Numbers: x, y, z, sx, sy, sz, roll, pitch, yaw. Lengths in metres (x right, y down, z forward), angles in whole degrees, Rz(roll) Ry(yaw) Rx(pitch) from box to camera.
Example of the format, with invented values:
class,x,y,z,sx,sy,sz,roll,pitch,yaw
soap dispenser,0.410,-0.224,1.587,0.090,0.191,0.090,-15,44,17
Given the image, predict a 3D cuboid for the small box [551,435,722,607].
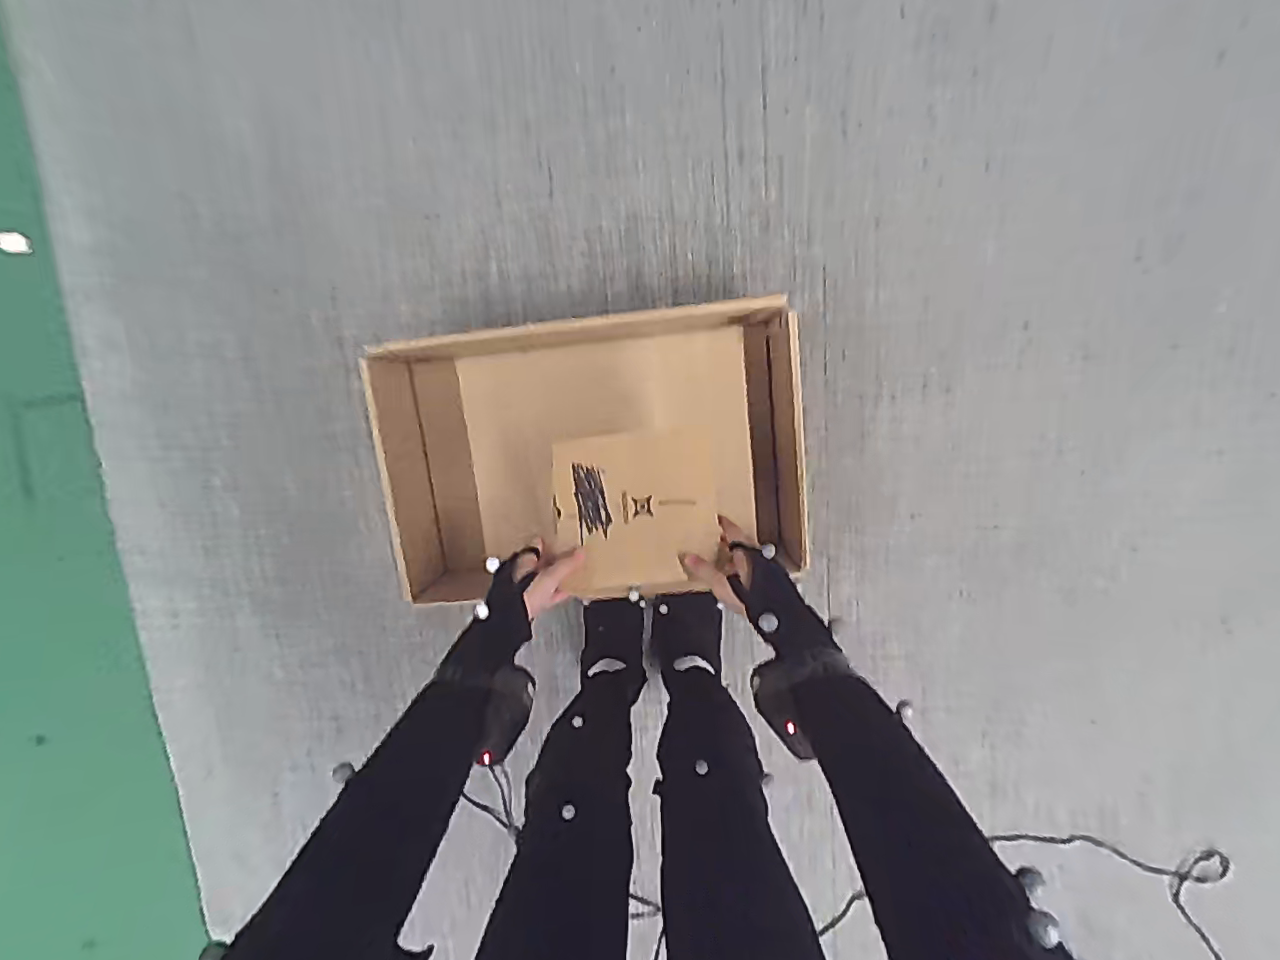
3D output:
class,x,y,z,sx,sy,sz,roll,pitch,yaw
small box,0.001,0.059,0.650,0.179,0.176,0.168,-7,74,4
